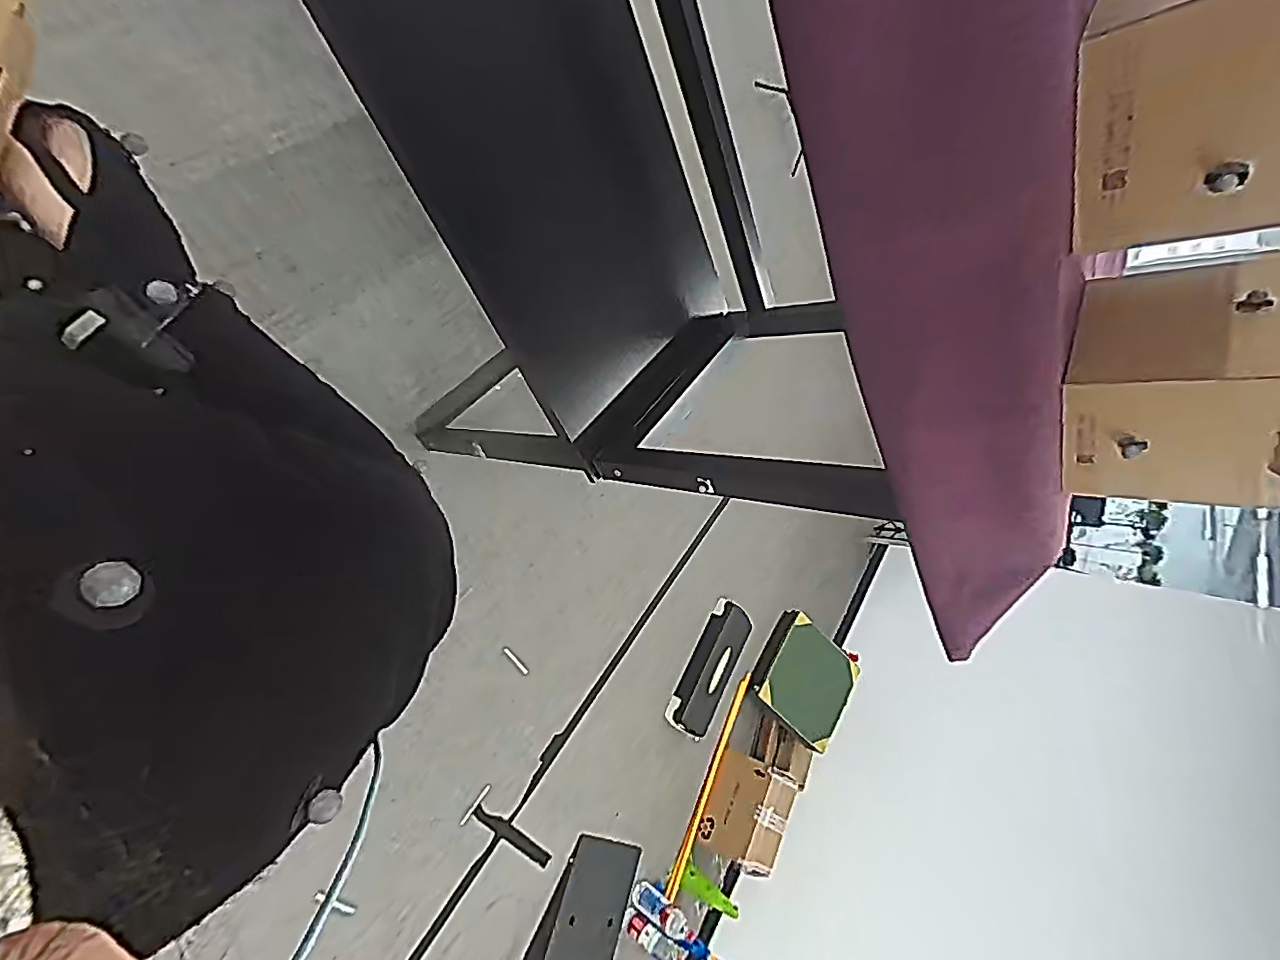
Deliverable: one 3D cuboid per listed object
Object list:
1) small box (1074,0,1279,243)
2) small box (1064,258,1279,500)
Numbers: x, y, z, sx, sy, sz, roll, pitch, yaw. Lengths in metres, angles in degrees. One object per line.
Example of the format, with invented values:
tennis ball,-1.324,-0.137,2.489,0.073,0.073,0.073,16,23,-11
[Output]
small box,0.452,-0.309,0.417,0.179,0.176,0.168,-54,132,-28
small box,0.551,-0.103,0.550,0.179,0.176,0.168,-57,131,-26
